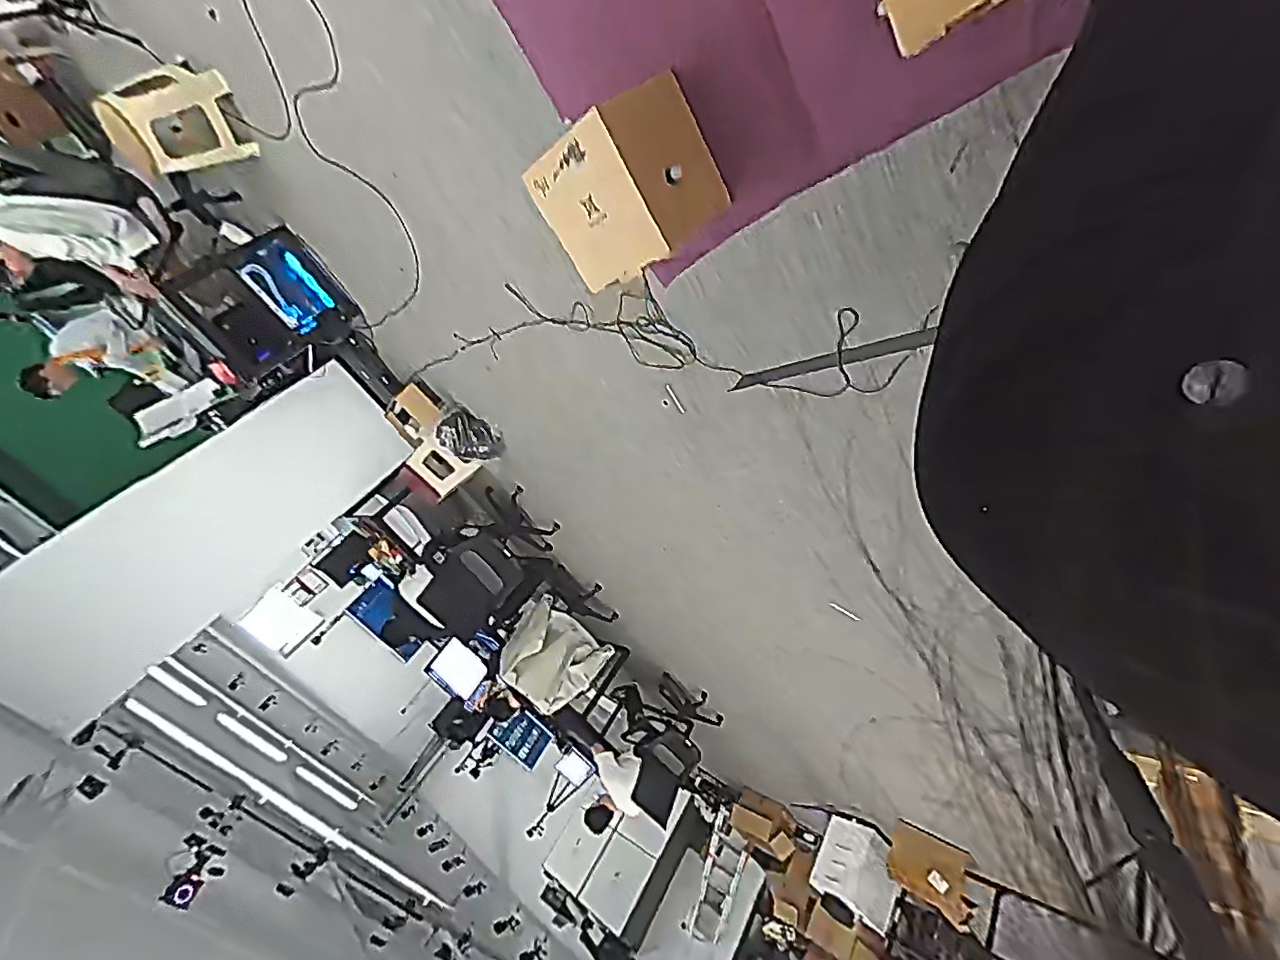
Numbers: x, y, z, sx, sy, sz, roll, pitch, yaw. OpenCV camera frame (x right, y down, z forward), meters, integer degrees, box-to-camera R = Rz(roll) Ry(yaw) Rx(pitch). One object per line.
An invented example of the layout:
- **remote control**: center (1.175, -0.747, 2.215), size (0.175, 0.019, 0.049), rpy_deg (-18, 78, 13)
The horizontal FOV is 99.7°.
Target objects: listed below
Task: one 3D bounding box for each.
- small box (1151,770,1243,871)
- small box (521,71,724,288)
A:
- **small box**: center (1.655, 1.003, 1.610), size (0.179, 0.176, 0.168), rpy_deg (-5, 126, 50)
- **small box**: center (-0.015, -0.396, 0.725), size (0.168, 0.176, 0.179), rpy_deg (-4, 128, 48)
